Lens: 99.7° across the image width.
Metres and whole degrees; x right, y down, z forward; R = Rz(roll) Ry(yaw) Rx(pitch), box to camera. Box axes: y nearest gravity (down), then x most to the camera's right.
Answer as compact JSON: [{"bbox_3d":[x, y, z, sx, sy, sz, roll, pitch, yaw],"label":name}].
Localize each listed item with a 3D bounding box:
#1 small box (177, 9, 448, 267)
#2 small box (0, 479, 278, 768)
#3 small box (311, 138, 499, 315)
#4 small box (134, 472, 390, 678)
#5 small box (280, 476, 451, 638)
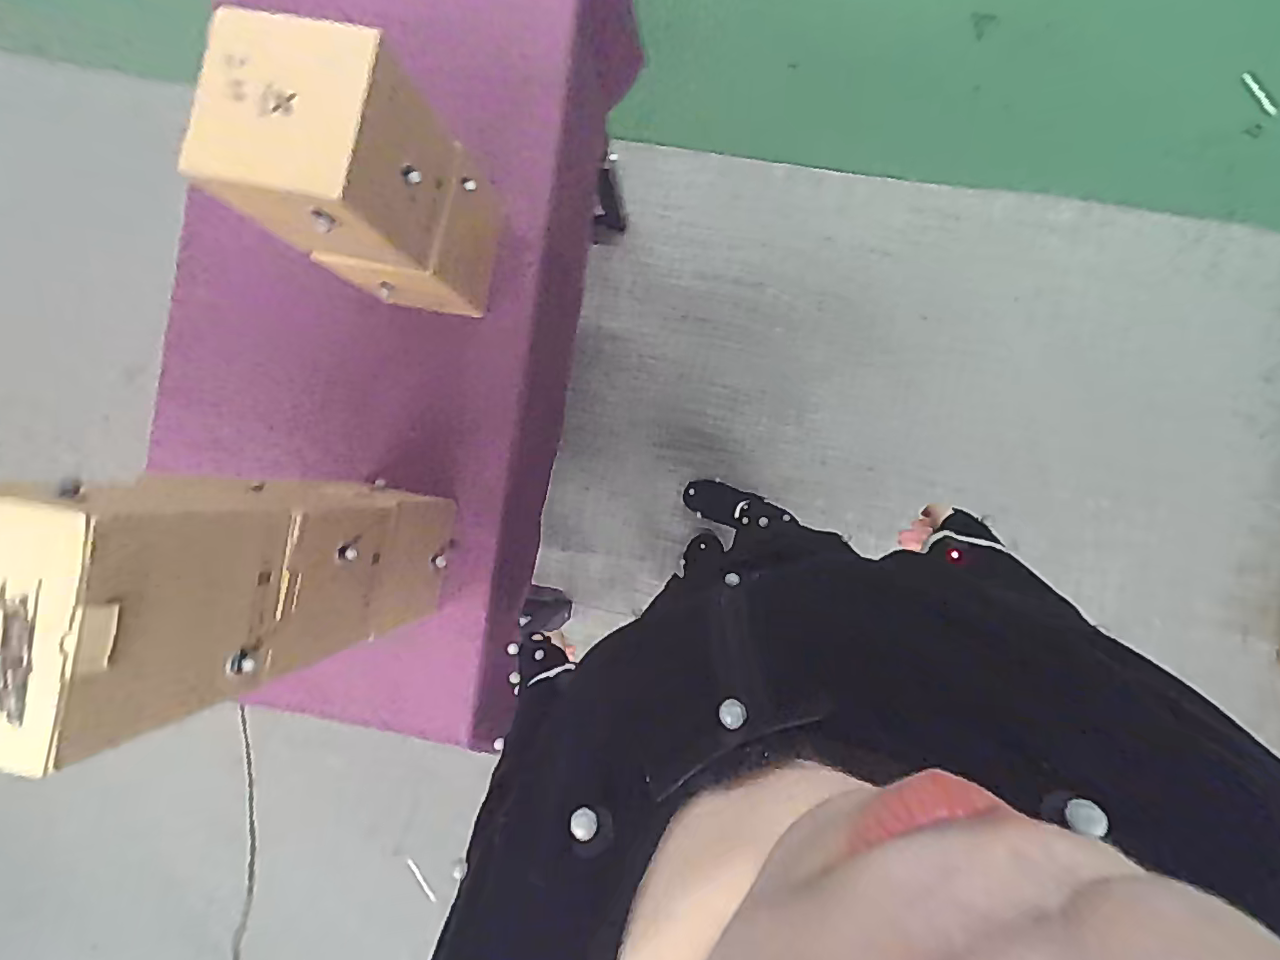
[{"bbox_3d":[-0.339,-0.355,0.594,0.179,0.176,0.168,13,89,7],"label":"small box"},{"bbox_3d":[-0.430,0.090,0.425,0.179,0.176,0.168,8,88,7],"label":"small box"},{"bbox_3d":[-0.314,-0.349,0.757,0.168,0.176,0.179,11,89,7],"label":"small box"},{"bbox_3d":[-0.406,0.090,0.588,0.179,0.176,0.168,12,89,7],"label":"small box"},{"bbox_3d":[-0.384,0.098,0.749,0.168,0.176,0.179,10,89,7],"label":"small box"}]
